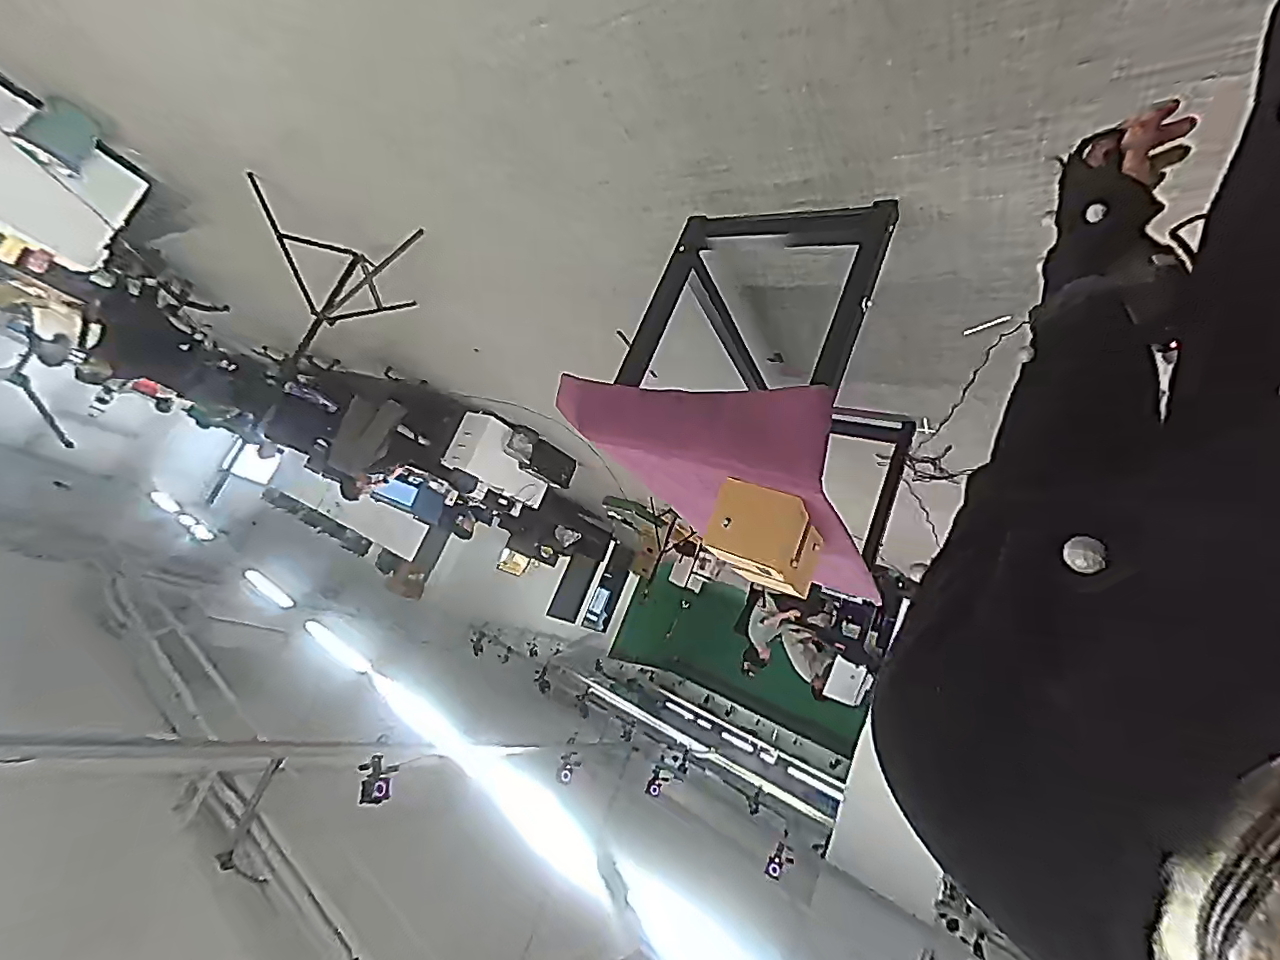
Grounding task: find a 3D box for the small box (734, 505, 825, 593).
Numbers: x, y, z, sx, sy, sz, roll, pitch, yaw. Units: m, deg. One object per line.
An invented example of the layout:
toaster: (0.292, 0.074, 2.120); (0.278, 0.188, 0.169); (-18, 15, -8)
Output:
small box: (0.371, 0.178, 1.418); (0.168, 0.176, 0.179); (14, 166, 34)
